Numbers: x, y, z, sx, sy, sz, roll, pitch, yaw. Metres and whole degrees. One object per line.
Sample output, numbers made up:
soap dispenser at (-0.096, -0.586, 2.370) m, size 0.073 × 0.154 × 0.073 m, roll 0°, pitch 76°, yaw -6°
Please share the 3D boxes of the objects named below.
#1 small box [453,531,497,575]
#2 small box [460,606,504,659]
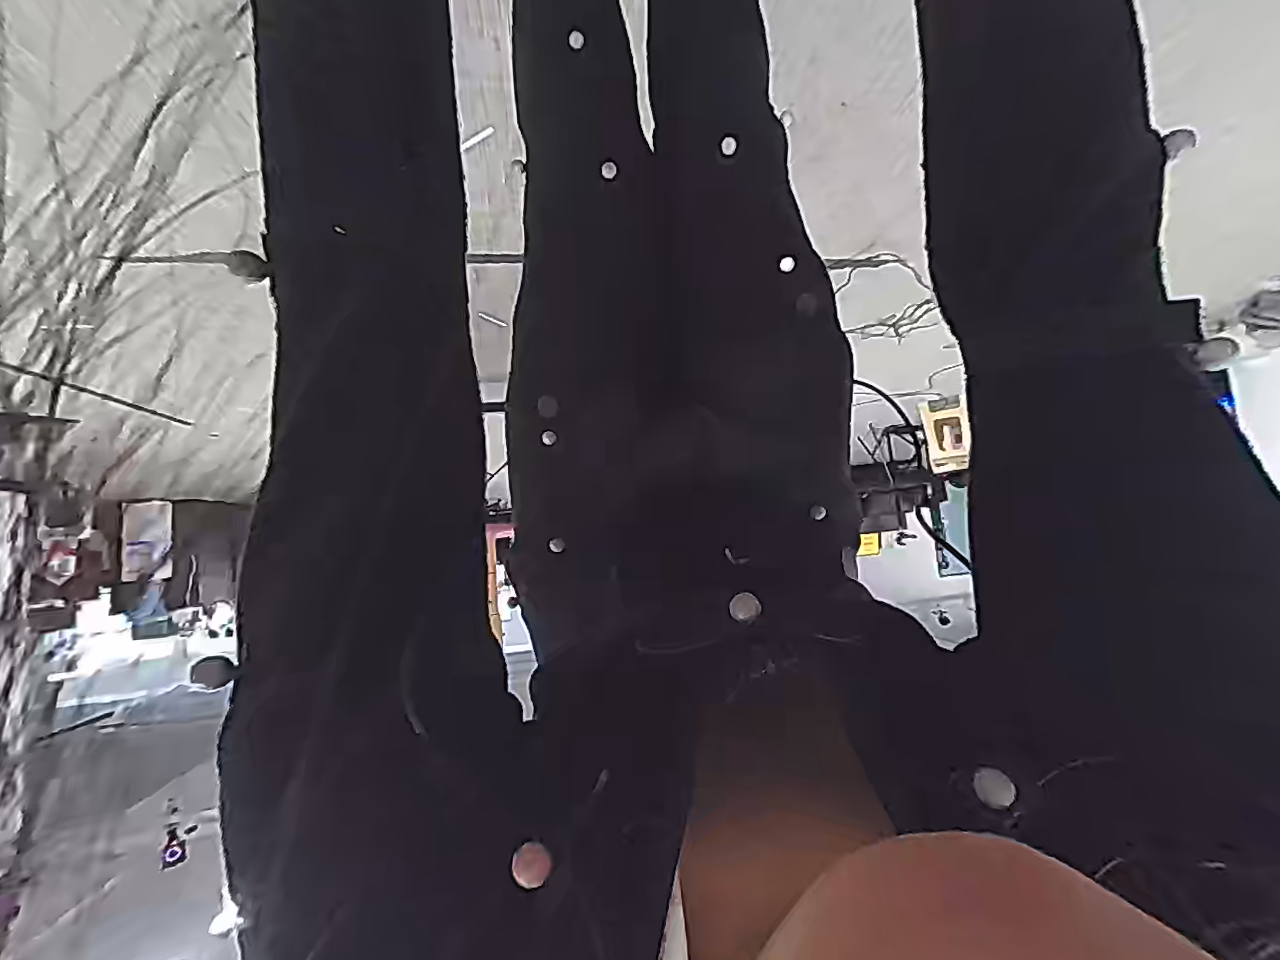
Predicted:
small box at (-0.694, 0.305, 2.282) m, size 0.168 × 0.176 × 0.179 m, roll -4°, pitch 174°, yaw -16°
small box at (-0.659, 0.628, 2.246) m, size 0.168 × 0.176 × 0.179 m, roll -3°, pitch 175°, yaw -17°
